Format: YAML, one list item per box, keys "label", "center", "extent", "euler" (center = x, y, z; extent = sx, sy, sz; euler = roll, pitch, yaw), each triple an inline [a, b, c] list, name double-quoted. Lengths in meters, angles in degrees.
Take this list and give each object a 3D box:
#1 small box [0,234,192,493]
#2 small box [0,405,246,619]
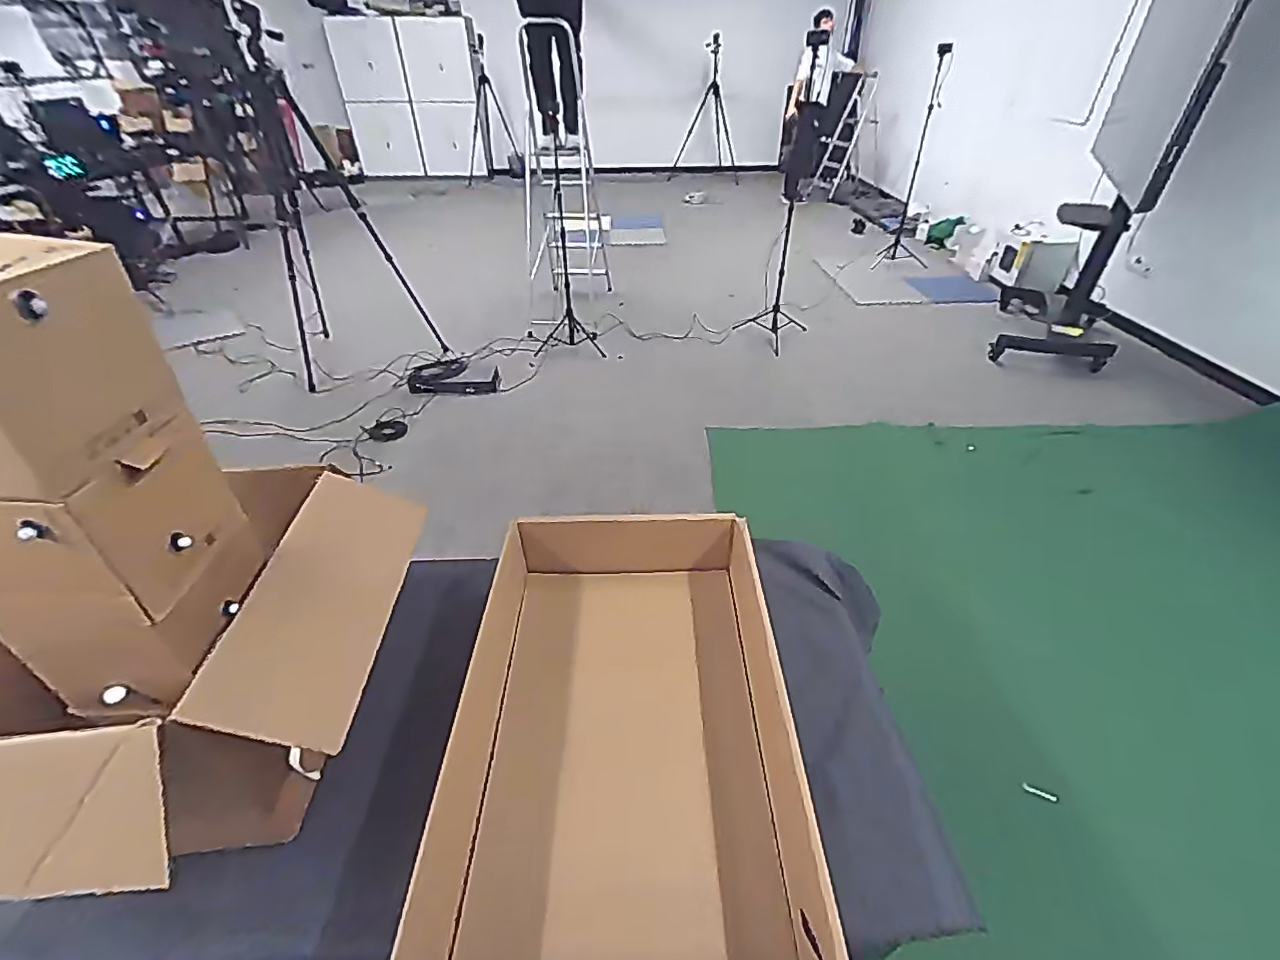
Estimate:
- label: "small box"
  center: [-0.557, -0.103, 0.469]
  extent: [0.179, 0.176, 0.168]
  euler: [3, 38, -3]
- label: "small box"
  center: [-0.570, 0.029, 0.566]
  extent: [0.179, 0.176, 0.168]
  euler: [3, 38, -4]
